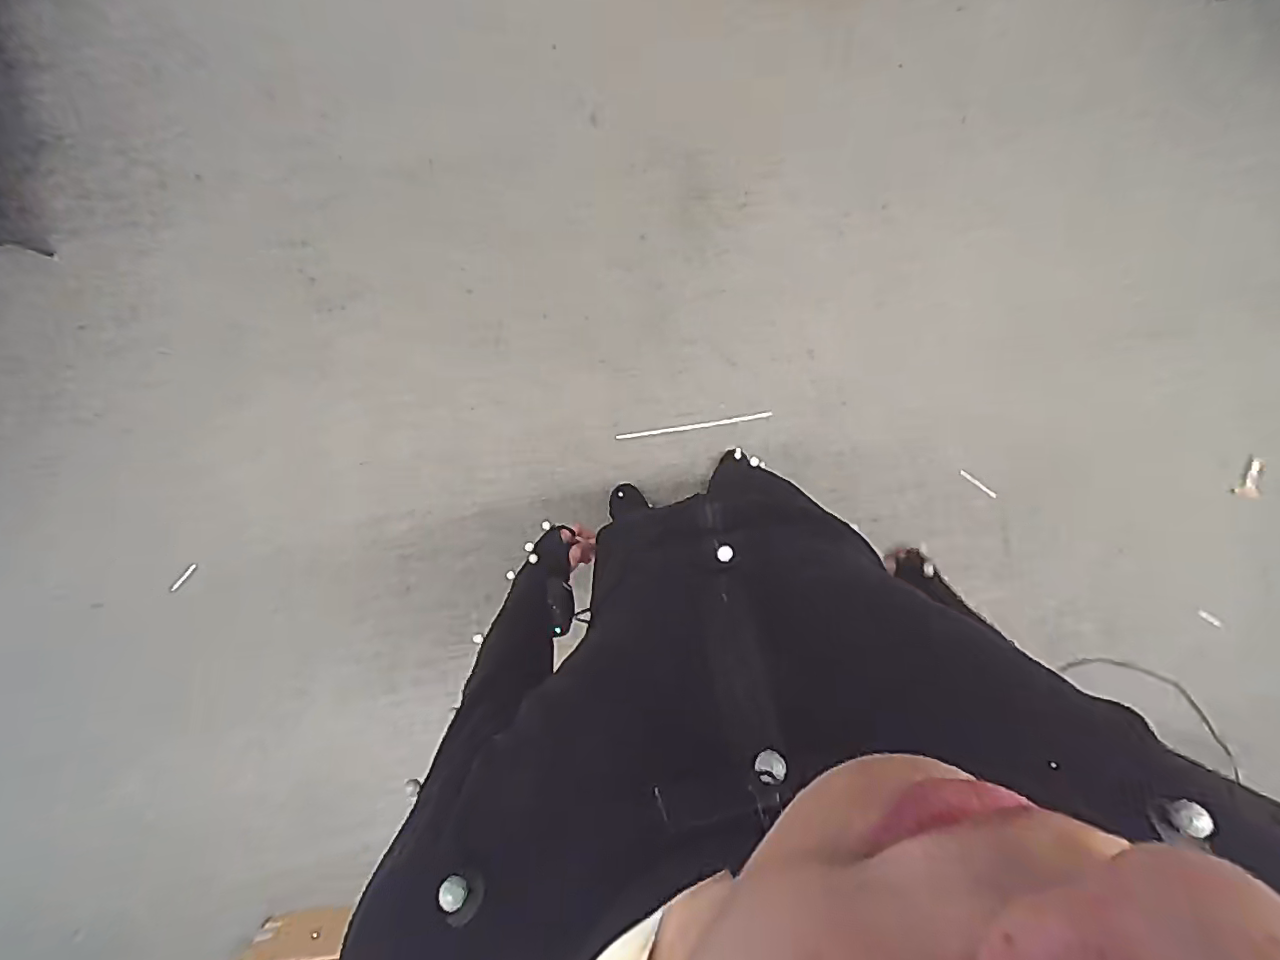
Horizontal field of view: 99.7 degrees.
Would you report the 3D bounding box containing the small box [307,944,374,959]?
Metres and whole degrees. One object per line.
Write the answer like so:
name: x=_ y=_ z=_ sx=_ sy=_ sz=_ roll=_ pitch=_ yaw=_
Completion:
small box: x=-0.848 y=1.412 z=1.466 sx=0.179 sy=0.176 sz=0.168 roll=-3 pitch=90 yaw=-2
